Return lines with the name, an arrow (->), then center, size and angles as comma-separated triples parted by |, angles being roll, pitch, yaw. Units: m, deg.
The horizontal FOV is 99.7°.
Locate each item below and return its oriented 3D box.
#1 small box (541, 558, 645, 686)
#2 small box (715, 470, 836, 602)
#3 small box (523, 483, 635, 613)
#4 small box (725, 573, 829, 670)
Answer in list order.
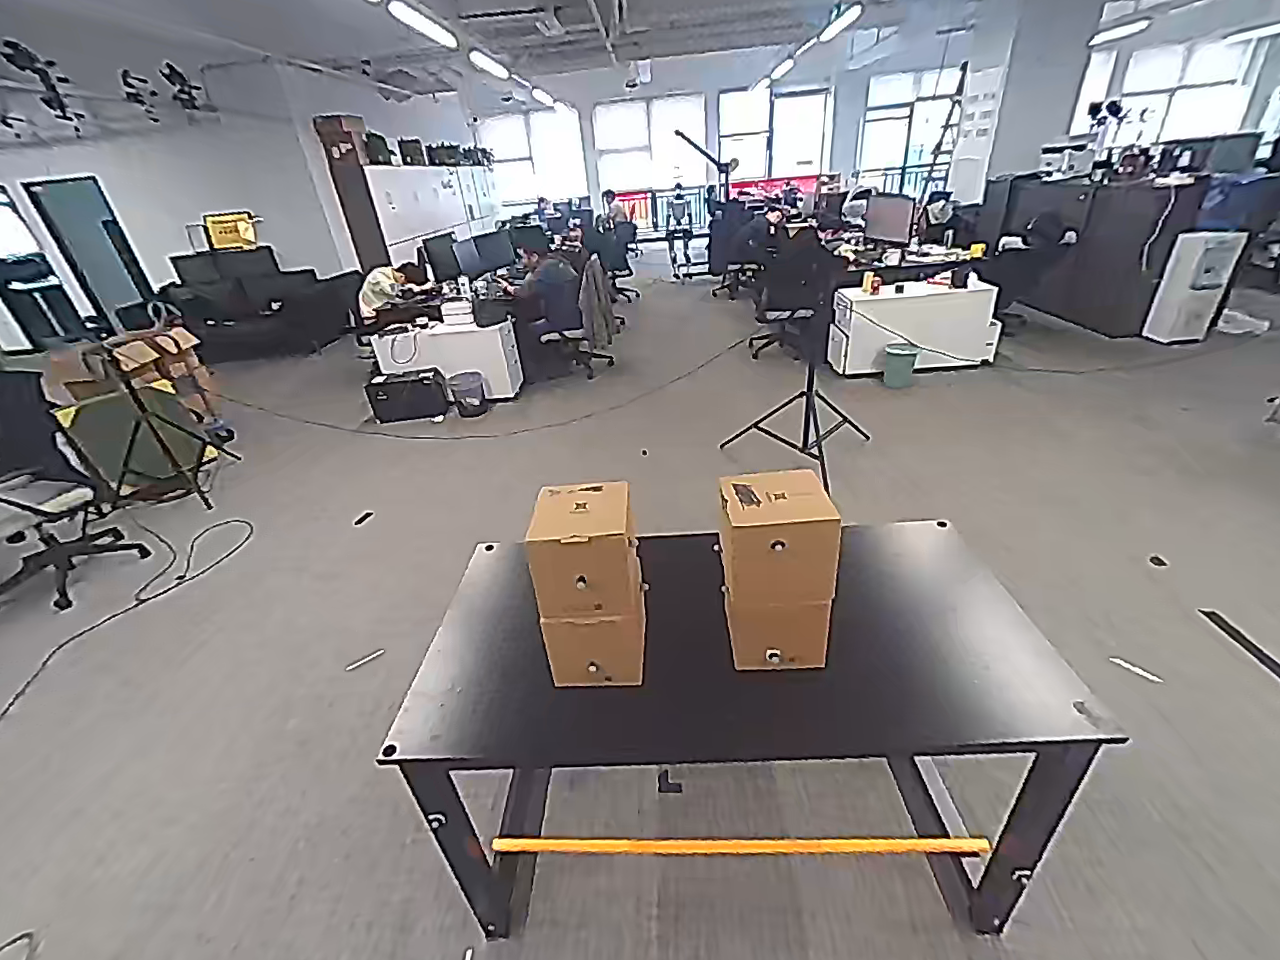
small box -> -0.082, 0.272, 1.046 | 0.168, 0.176, 0.179 | -3, 30, 6
small box -> 0.233, 0.100, 0.959 | 0.179, 0.176, 0.168 | -5, 29, 2
small box -> -0.099, 0.125, 0.974 | 0.168, 0.176, 0.179 | -4, 30, 3
small box -> 0.254, 0.240, 1.043 | 0.168, 0.176, 0.179 | -5, 30, 4
